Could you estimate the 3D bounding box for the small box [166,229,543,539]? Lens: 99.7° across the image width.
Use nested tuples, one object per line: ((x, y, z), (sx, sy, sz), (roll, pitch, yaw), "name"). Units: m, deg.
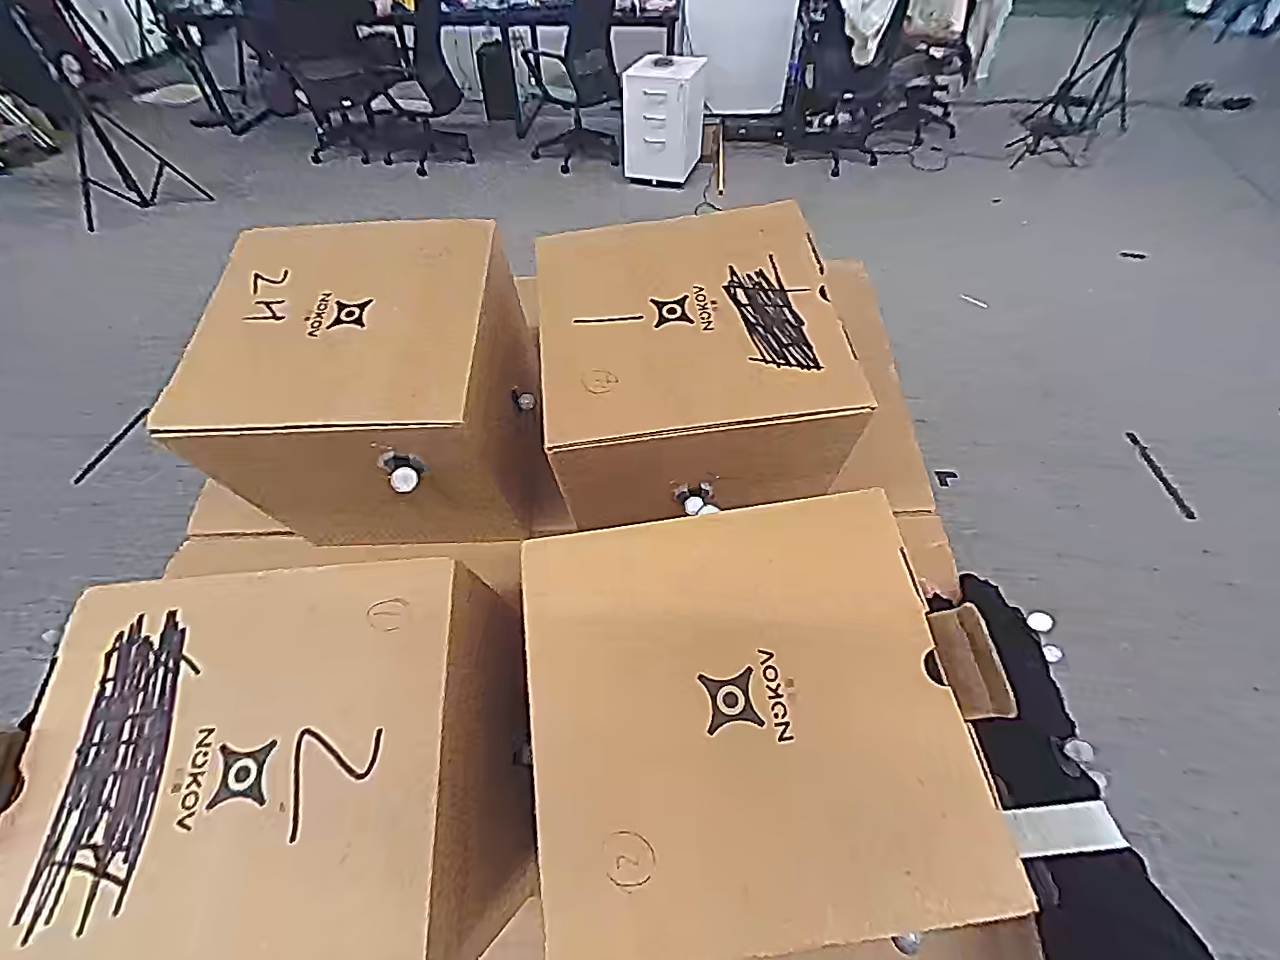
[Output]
((-0.177, -0.062, 0.409), (0.179, 0.176, 0.168), (-1, 61, 3), "small box")
